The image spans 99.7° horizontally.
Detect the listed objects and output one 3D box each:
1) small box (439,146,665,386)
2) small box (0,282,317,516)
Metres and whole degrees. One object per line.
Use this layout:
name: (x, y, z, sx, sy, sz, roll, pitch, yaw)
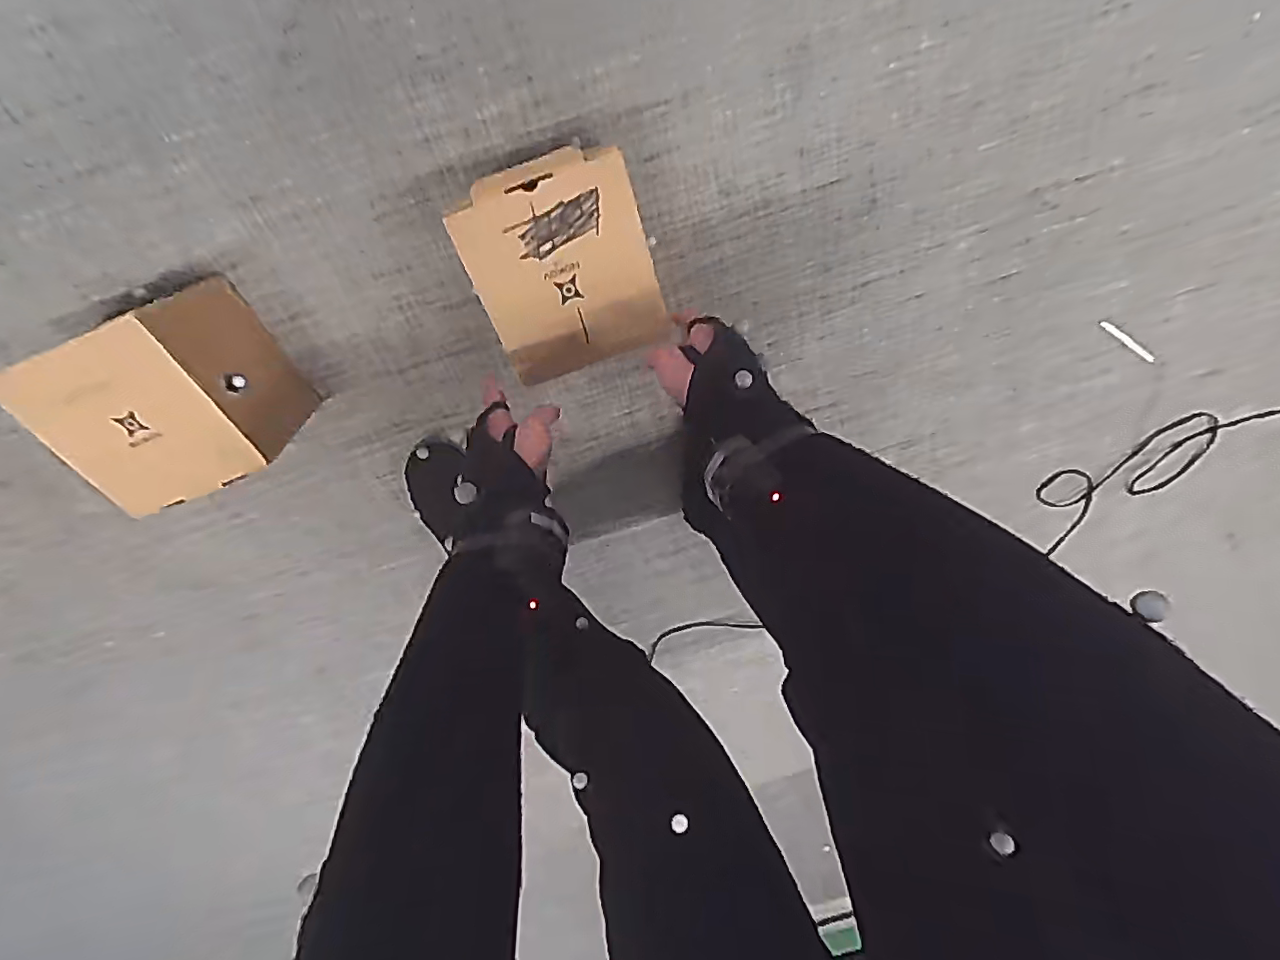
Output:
small box: (-0.085, -0.231, 0.576, 0.168, 0.176, 0.179, -19, 123, 5)
small box: (-0.509, -0.096, 0.606, 0.168, 0.176, 0.179, -22, 121, 4)
